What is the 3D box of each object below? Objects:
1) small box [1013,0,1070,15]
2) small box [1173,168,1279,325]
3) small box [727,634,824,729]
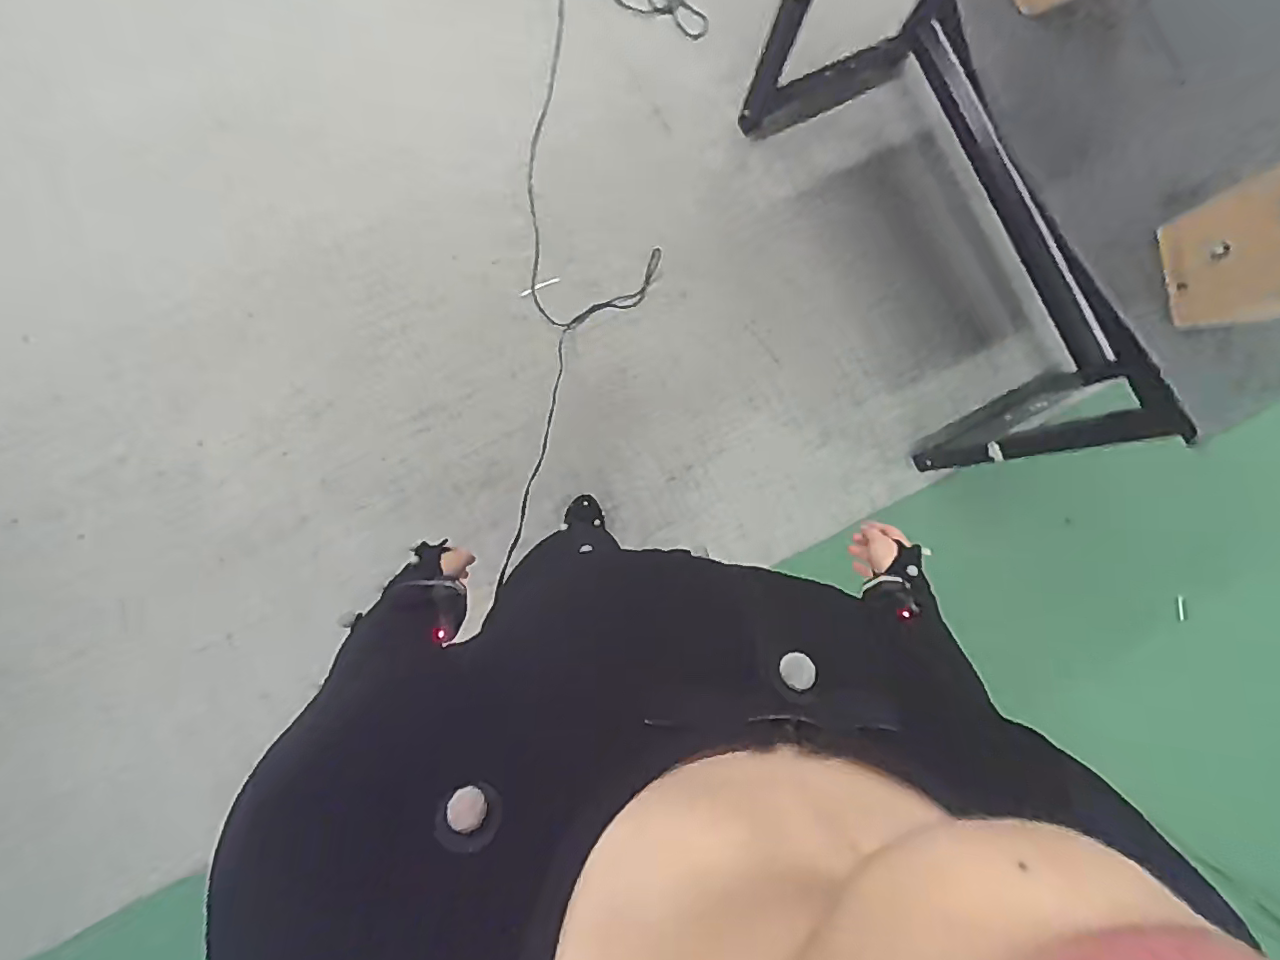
[{"bbox_3d":[0.665,-0.854,0.799,0.179,0.176,0.168,-26,88,-7],"label":"small box"},{"bbox_3d":[0.923,-0.331,0.775,0.179,0.176,0.168,-6,86,-7],"label":"small box"},{"bbox_3d":[0.342,0.512,1.402,0.179,0.176,0.168,20,84,-3],"label":"small box"}]
